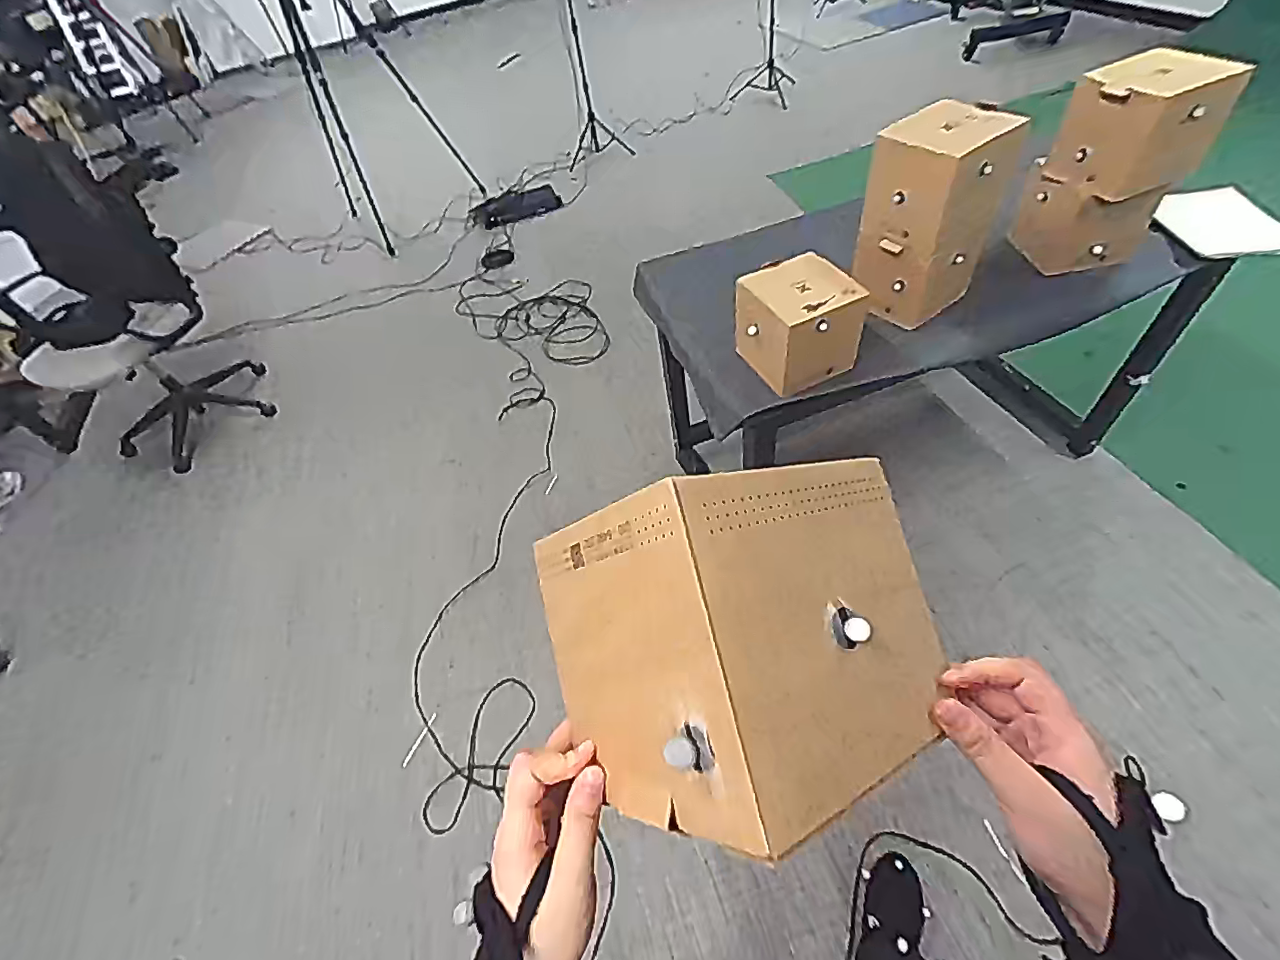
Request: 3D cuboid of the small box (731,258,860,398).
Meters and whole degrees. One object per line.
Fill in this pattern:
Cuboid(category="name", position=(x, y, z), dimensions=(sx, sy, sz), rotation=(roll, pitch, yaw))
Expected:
Cuboid(category="small box", position=(0.288, -0.290, 1.040), dimensions=(0.168, 0.176, 0.179), rotation=(-24, 52, -9))

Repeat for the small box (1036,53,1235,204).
Cuboid(category="small box", position=(0.882, -0.639, 0.987), dimensions=(0.179, 0.176, 0.168), rotation=(-22, 51, -5))

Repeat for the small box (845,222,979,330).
Cuboid(category="small box", position=(0.543, -0.439, 1.110), dimensions=(0.179, 0.176, 0.168), rotation=(-34, 54, -16))

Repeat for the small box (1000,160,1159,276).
Cuboid(category="small box", position=(0.896, -0.555, 1.128), dimensions=(0.168, 0.176, 0.179), rotation=(-9, 51, 5))

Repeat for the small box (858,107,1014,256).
Cuboid(category="small box", position=(0.519, -0.537, 0.980), dimensions=(0.179, 0.176, 0.168), rotation=(-32, 54, -14))
